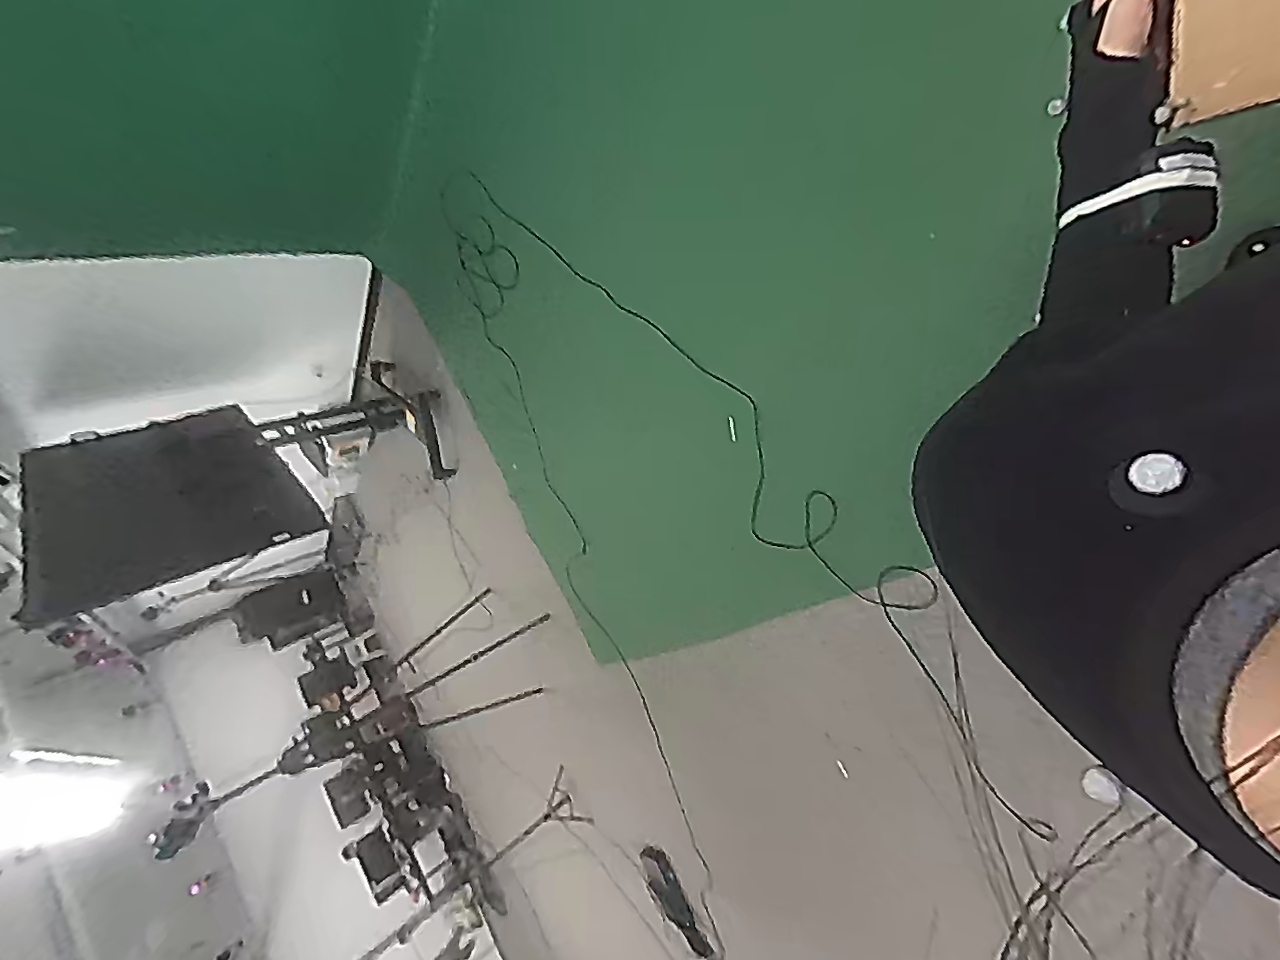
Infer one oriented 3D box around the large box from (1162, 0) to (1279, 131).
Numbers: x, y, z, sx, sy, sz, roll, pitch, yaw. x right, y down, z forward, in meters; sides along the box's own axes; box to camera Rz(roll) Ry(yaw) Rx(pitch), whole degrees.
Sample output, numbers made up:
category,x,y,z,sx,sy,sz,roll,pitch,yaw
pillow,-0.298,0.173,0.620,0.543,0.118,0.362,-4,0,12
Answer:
category,x,y,z,sx,sy,sz,roll,pitch,yaw
large box,0.598,-0.457,0.312,0.408,0.320,0.320,5,118,46
